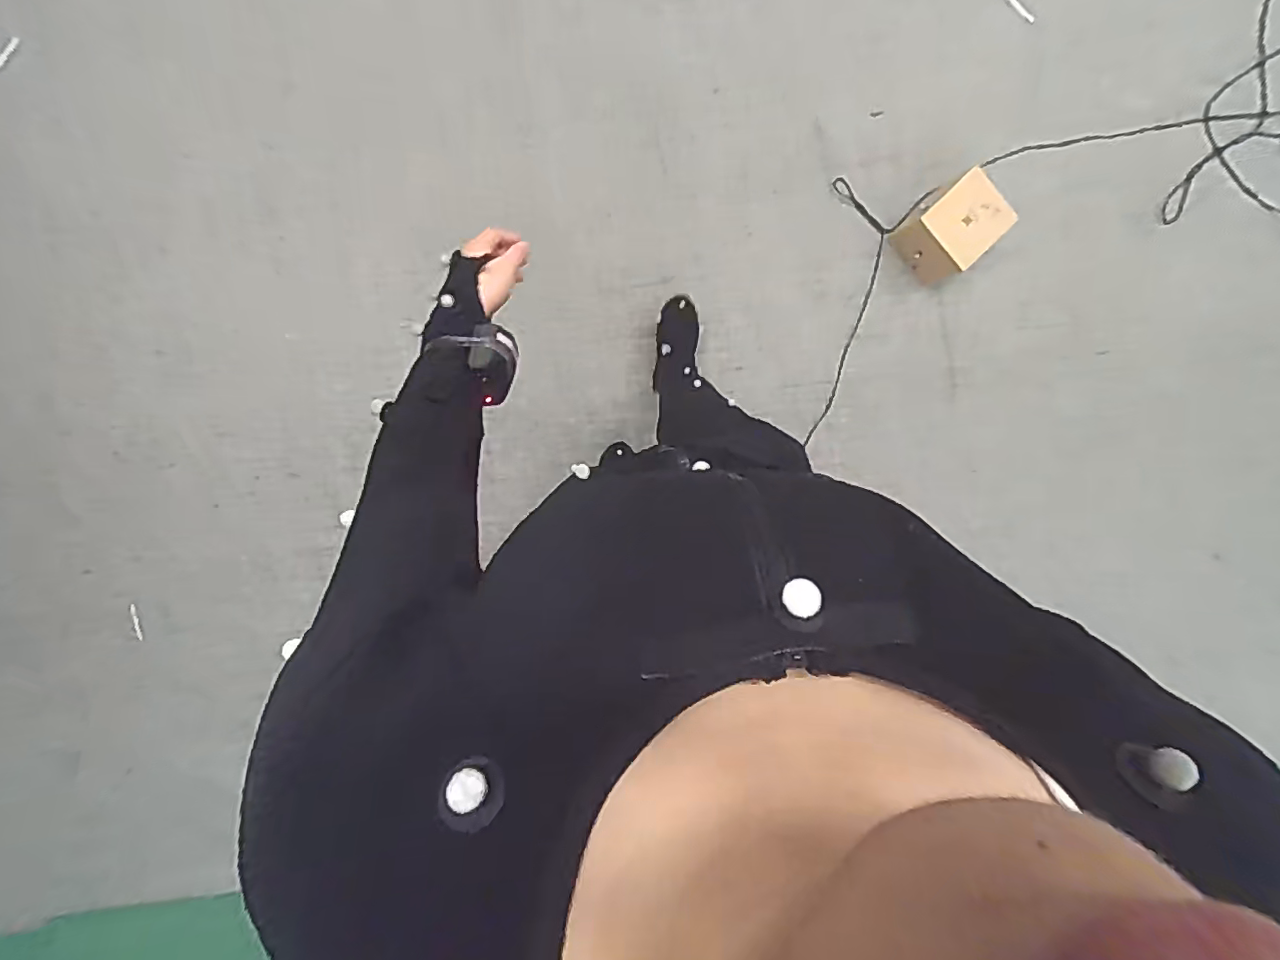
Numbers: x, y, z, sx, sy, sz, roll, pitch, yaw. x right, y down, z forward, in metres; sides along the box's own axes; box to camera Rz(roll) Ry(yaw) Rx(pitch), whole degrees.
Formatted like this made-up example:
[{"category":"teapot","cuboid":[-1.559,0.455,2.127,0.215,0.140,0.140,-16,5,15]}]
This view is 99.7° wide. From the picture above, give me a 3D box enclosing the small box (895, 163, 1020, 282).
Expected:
[{"category":"small box","cuboid":[0.754,-0.613,1.314,0.179,0.176,0.168,-45,97,5]}]
